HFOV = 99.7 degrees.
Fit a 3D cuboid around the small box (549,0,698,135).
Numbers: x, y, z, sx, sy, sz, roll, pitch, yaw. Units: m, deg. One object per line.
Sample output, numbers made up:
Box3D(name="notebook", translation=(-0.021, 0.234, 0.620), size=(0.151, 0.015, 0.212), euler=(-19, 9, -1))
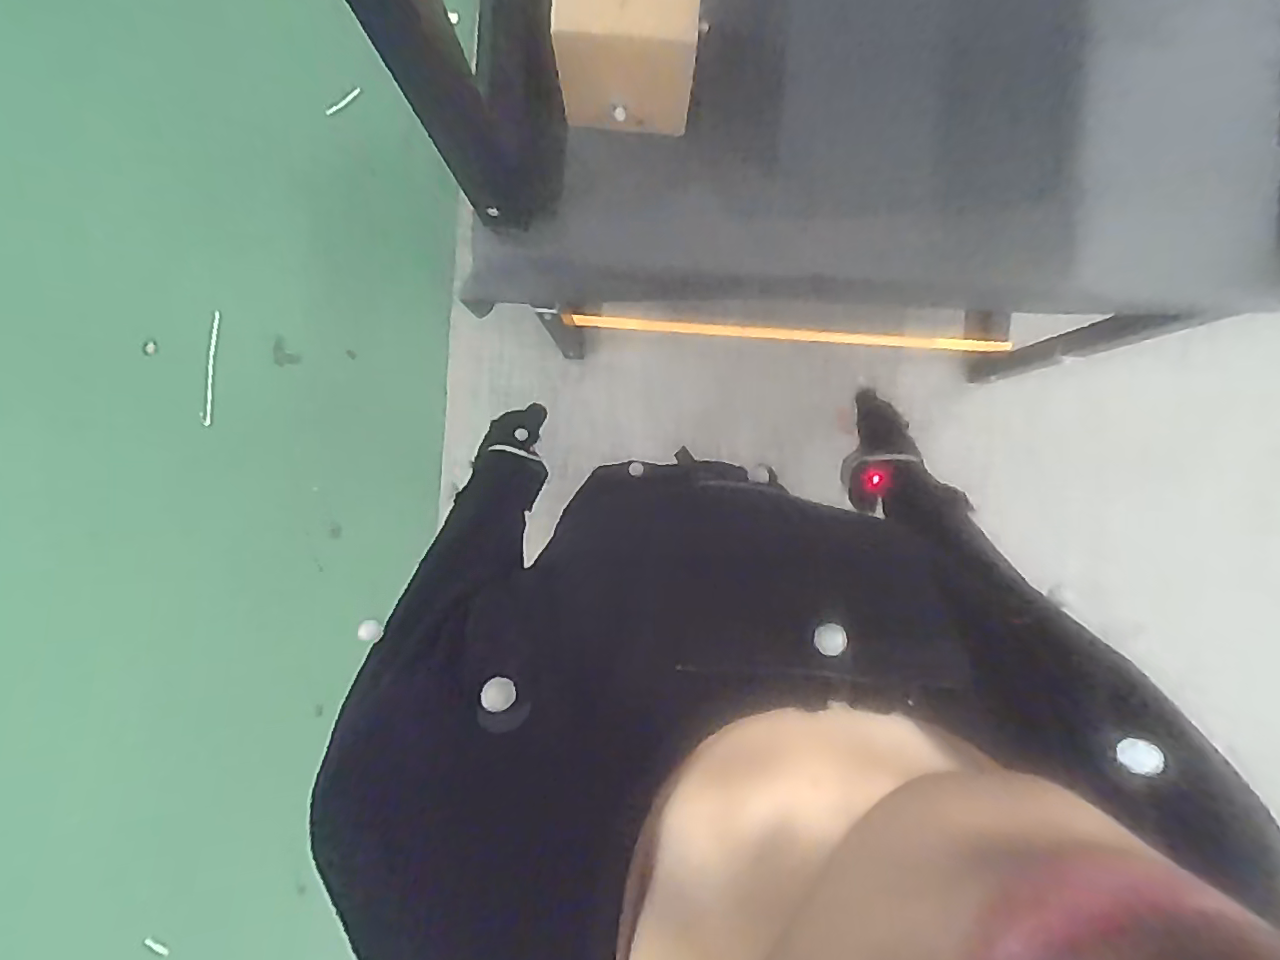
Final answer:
Box3D(name="small box", translation=(-0.015, -0.578, 0.679), size=(0.168, 0.176, 0.179), euler=(5, 91, 0))
